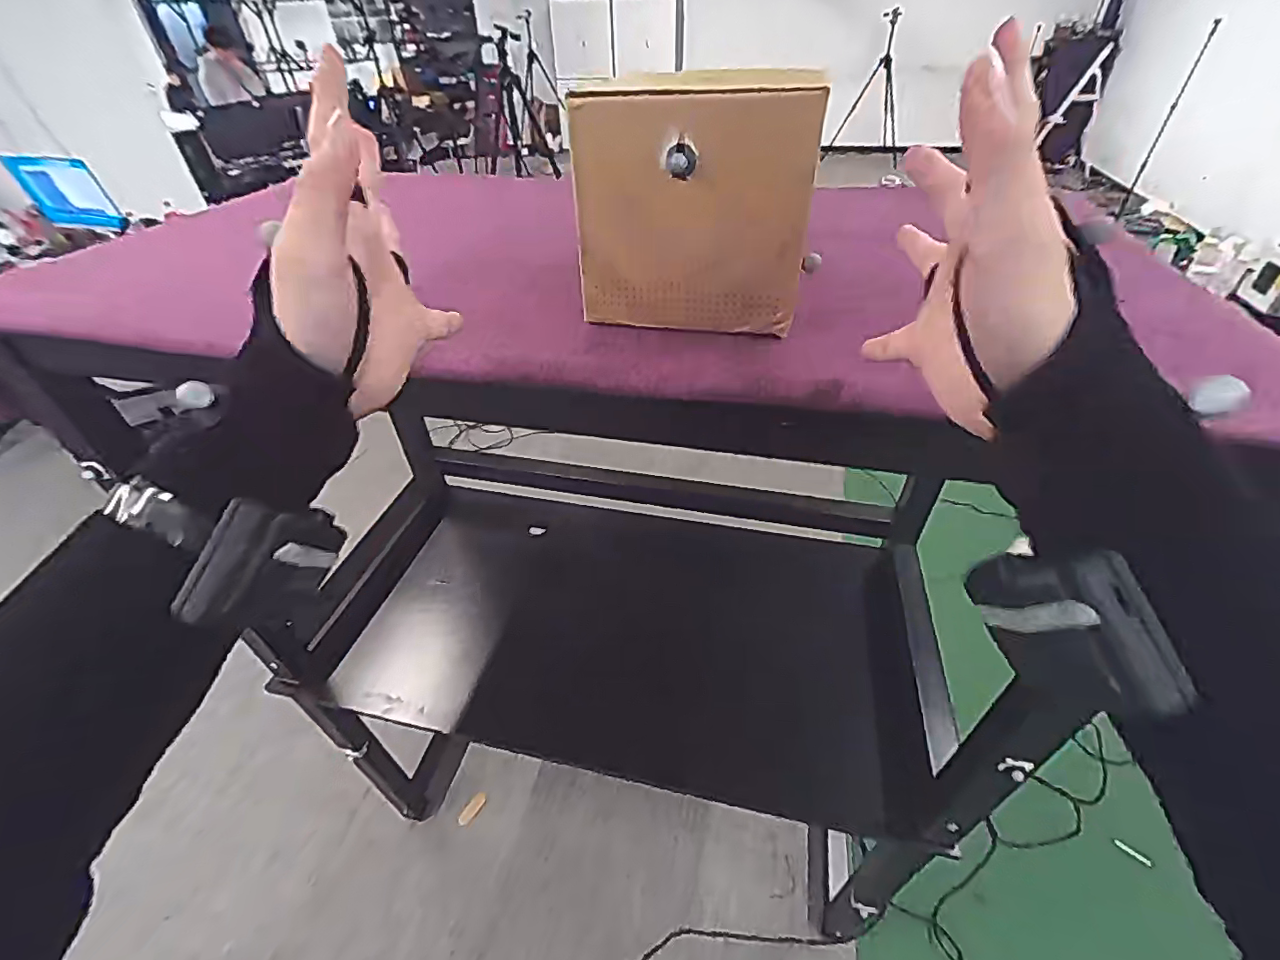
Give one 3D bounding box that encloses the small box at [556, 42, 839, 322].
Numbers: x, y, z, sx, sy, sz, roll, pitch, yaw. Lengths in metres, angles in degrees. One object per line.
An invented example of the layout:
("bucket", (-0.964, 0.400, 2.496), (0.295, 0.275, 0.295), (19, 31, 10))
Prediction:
("small box", (0.050, -0.241, 0.434), (0.179, 0.176, 0.168), (11, 42, 12))
